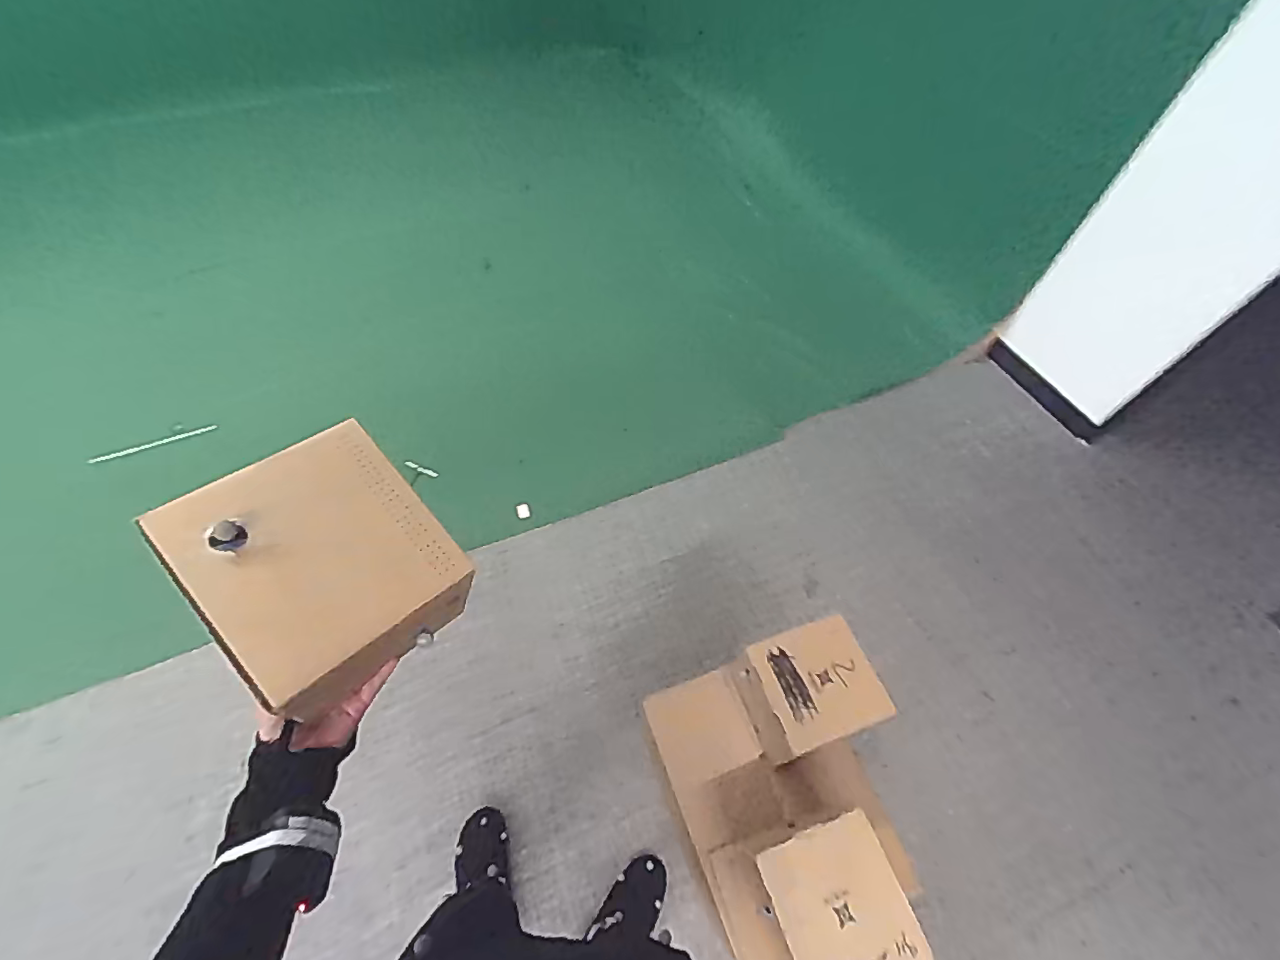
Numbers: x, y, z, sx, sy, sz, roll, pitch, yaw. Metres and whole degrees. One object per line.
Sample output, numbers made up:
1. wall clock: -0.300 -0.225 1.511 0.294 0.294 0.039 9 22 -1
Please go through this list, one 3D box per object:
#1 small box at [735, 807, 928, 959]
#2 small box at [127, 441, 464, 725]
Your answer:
1. small box: 0.245 0.579 0.746 0.168 0.176 0.179 -16 60 -9
2. small box: -0.286 0.087 0.486 0.176 0.168 0.179 -38 83 -33
